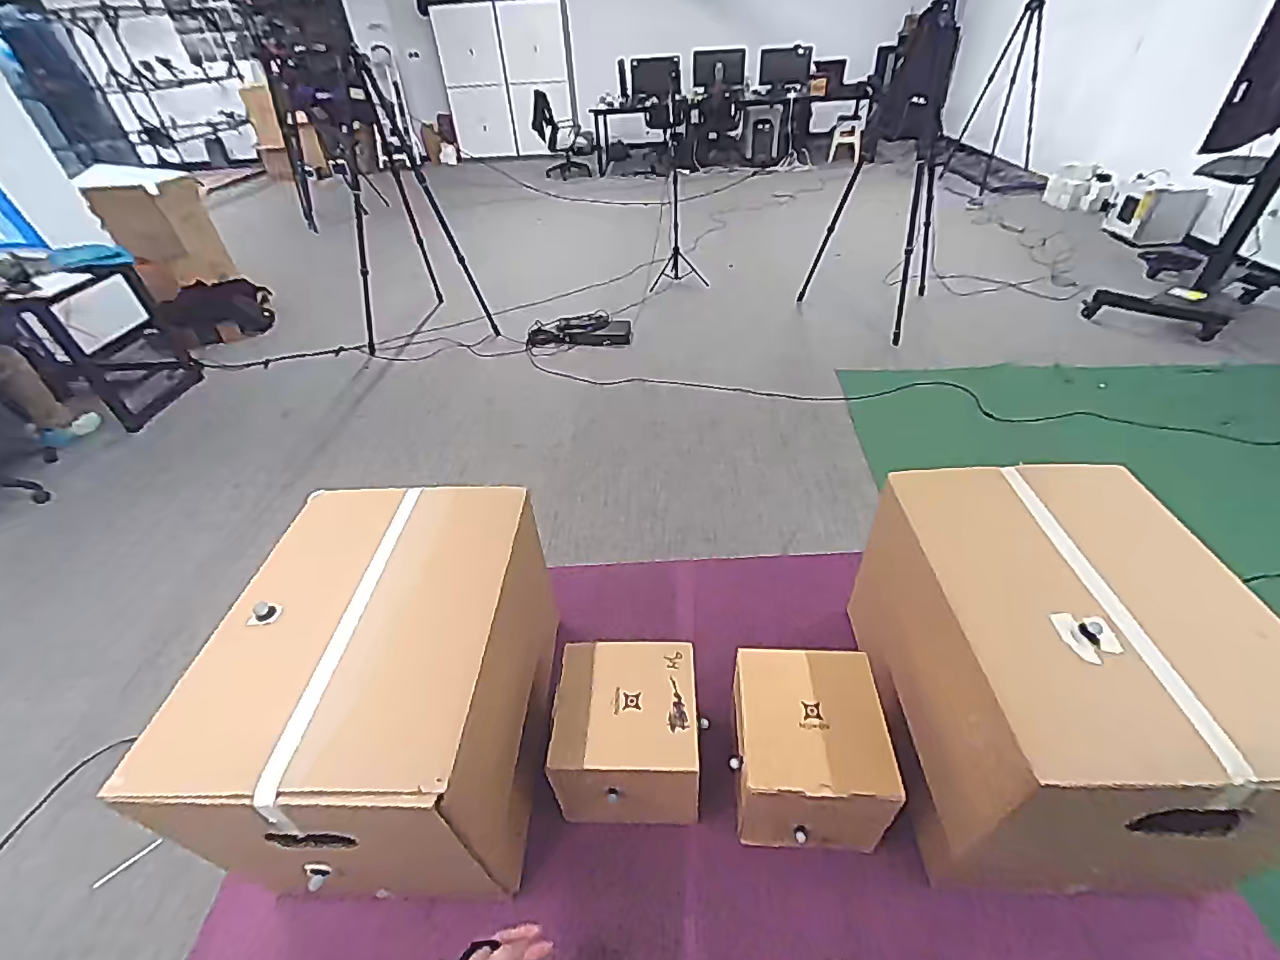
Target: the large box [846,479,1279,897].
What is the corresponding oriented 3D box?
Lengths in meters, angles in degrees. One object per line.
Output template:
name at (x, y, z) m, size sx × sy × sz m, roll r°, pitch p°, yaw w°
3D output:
large box at (0.497, 0.243, 0.690) m, size 0.320 × 0.320 × 0.408 m, roll -1°, pitch 41°, yaw 4°
